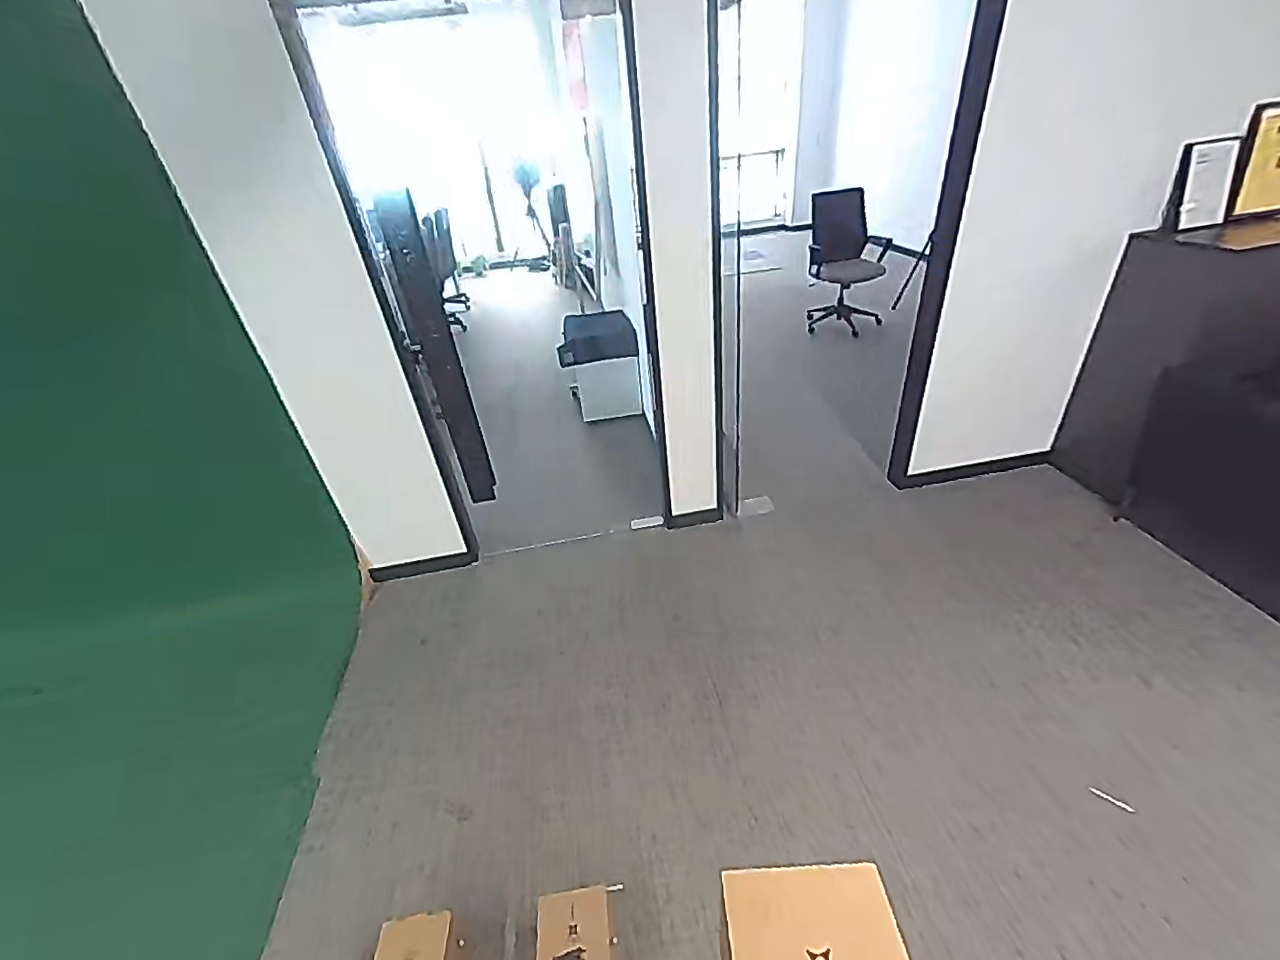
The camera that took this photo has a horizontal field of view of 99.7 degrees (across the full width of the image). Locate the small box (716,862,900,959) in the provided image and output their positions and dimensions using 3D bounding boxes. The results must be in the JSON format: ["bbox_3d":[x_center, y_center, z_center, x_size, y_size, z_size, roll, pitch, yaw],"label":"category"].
[{"bbox_3d":[0.166,0.522,0.540,0.168,0.176,0.179,-4,29,2],"label":"small box"}]

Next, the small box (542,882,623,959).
[{"bbox_3d":[-0.132,1.094,1.276,0.168,0.176,0.179,-8,33,-2],"label":"small box"}]
